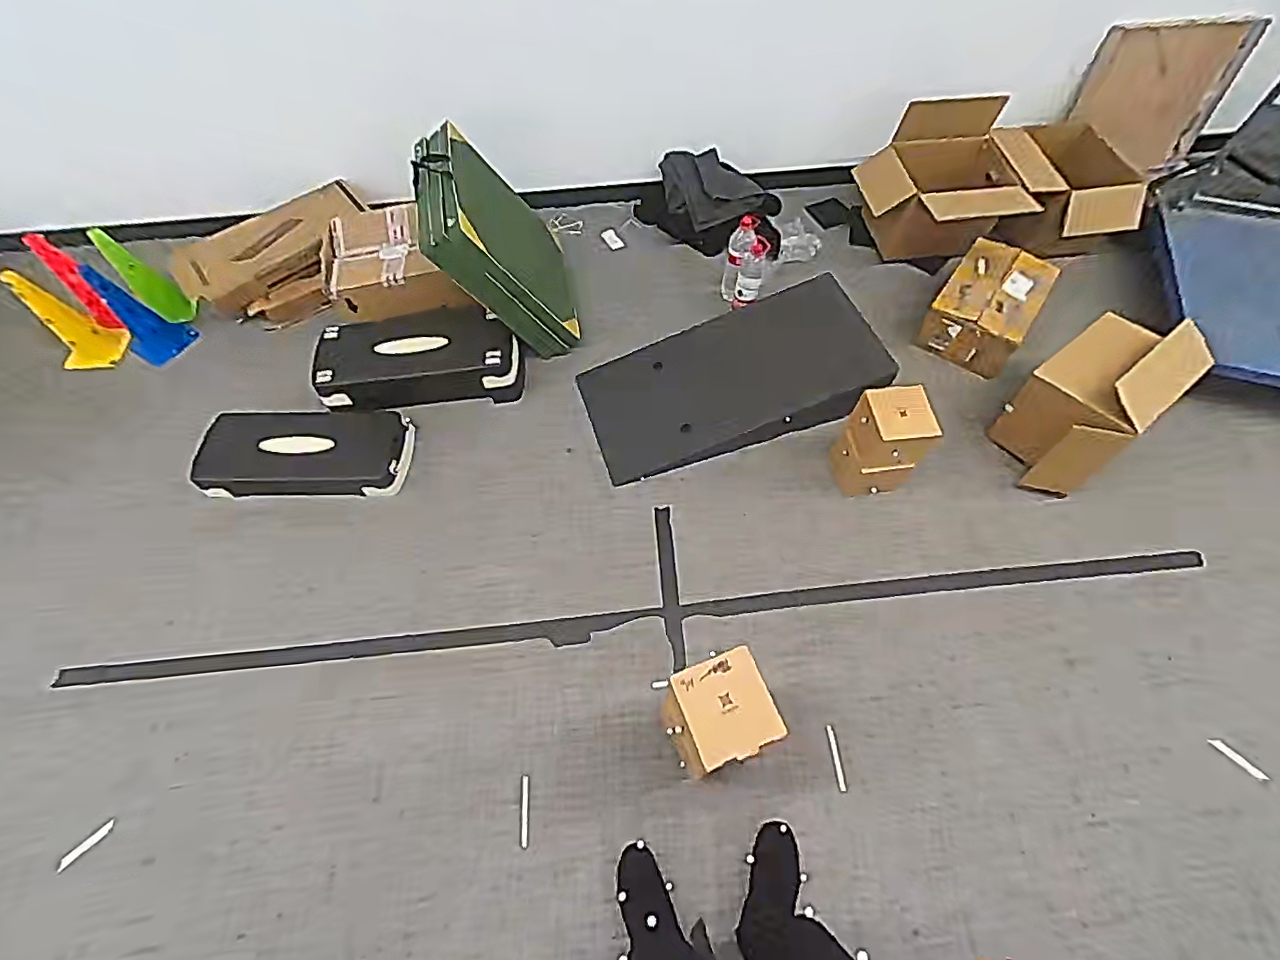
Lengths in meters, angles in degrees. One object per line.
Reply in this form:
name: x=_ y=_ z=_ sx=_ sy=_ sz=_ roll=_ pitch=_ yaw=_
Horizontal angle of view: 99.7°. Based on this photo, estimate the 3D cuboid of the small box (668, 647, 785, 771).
small box: x=0.163 y=0.458 z=1.080 sx=0.168 sy=0.176 sz=0.179 roll=-19 pitch=63 yaw=-9
